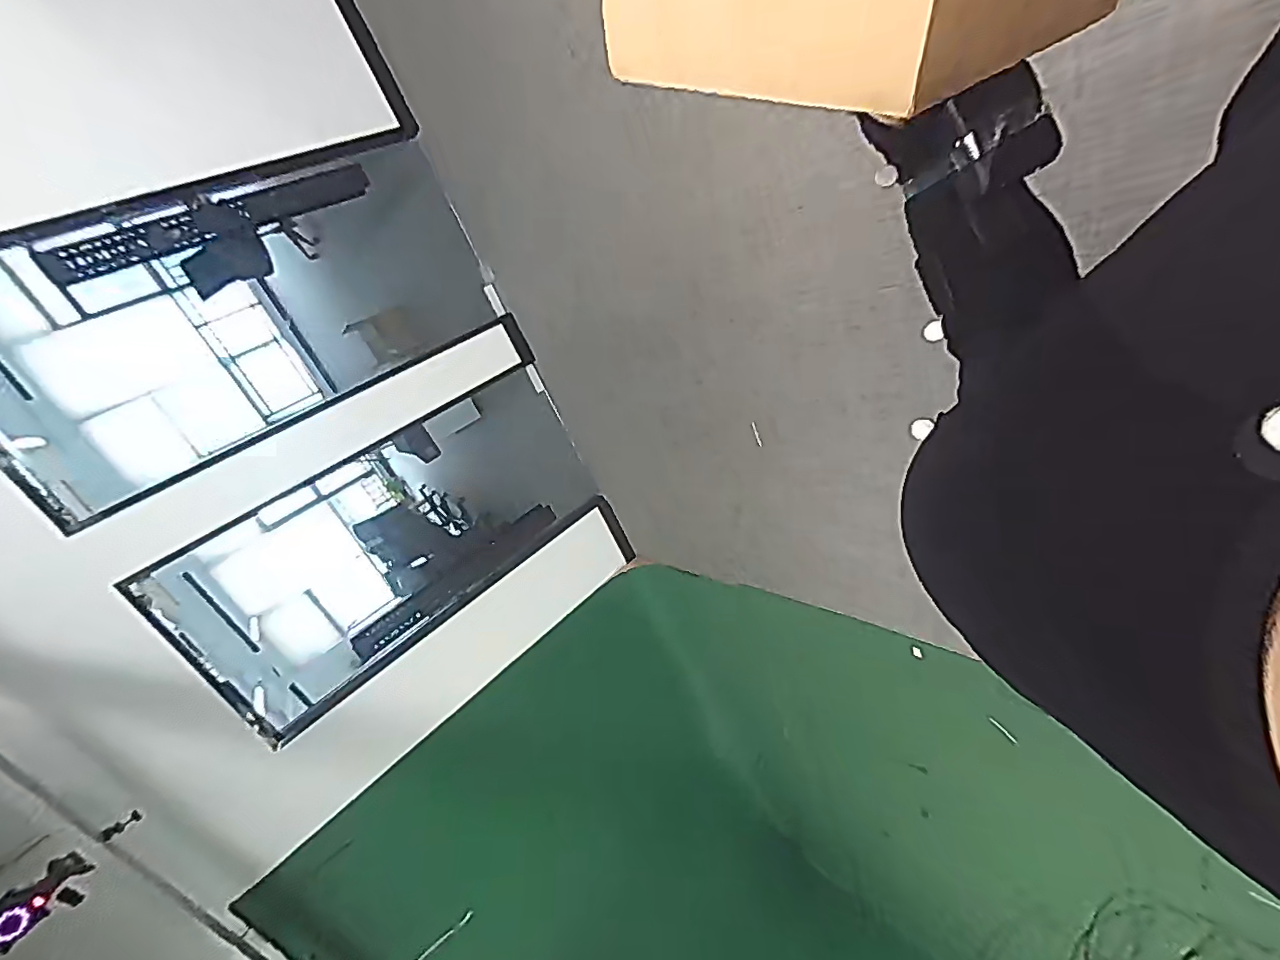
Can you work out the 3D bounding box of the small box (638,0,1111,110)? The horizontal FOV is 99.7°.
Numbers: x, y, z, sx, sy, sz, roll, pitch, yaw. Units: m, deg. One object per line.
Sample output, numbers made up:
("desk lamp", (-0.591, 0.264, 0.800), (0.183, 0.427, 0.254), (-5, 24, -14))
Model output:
("small box", (0.109, -0.276, 0.214), (0.179, 0.176, 0.168), (40, 156, 35))
